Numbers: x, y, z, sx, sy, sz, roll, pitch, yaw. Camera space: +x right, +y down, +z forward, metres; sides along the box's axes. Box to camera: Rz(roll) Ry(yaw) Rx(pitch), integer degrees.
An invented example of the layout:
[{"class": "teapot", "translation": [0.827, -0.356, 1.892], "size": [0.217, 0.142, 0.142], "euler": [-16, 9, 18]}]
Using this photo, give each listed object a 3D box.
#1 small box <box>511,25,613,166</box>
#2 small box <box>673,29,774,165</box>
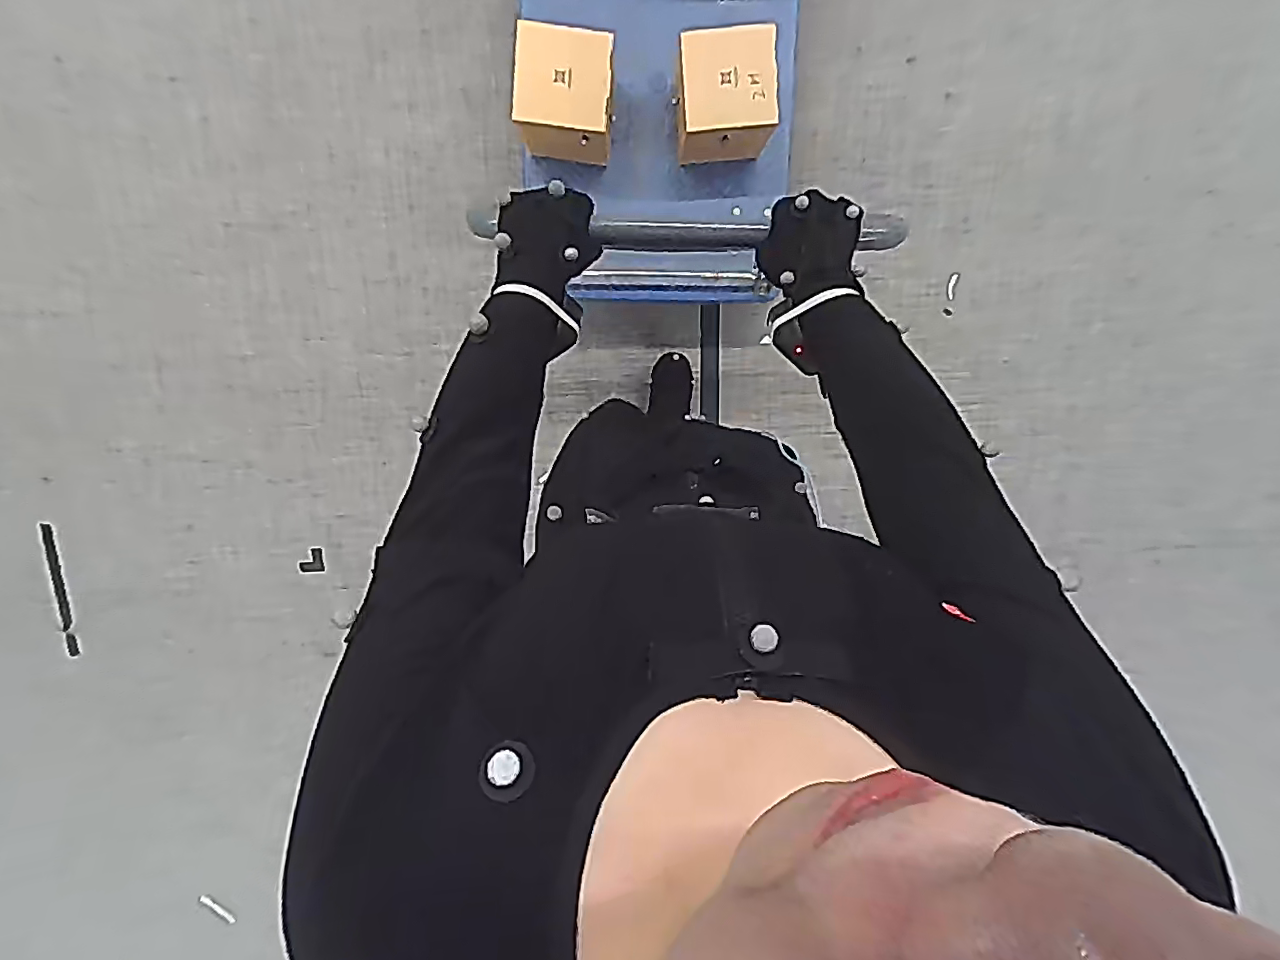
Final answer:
[{"class": "small box", "translation": [-0.148, -0.747, 1.071], "size": [0.179, 0.176, 0.168], "euler": [5, 101, -4]}, {"class": "small box", "translation": [0.159, -0.749, 1.076], "size": [0.179, 0.176, 0.168], "euler": [-5, 102, 0]}]
